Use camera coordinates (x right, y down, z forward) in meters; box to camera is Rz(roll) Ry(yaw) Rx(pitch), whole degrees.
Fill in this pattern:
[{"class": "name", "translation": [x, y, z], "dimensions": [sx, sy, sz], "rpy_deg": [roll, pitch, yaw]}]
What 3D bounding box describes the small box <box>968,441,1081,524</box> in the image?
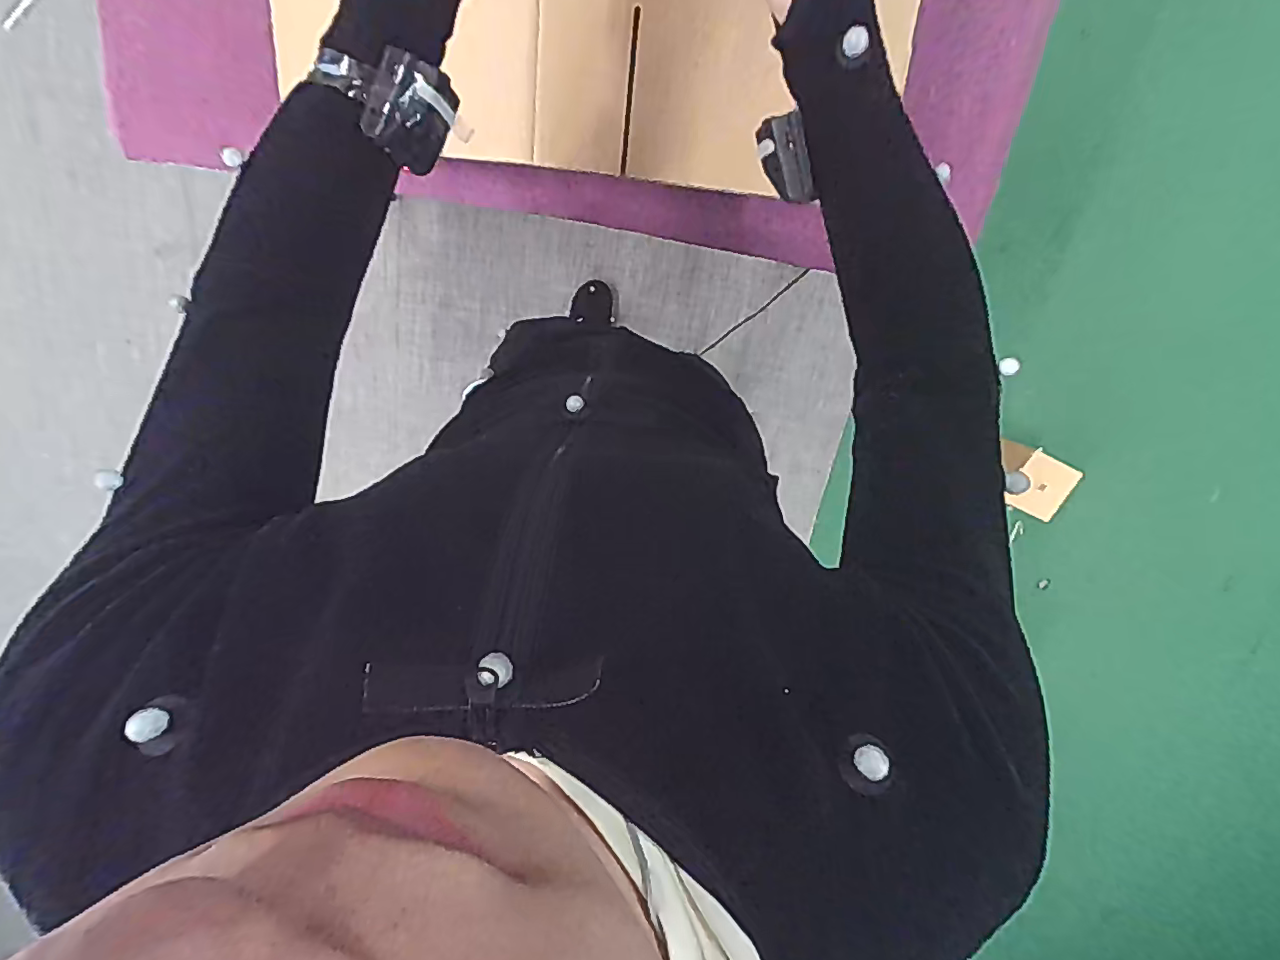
[{"class": "small box", "translation": [1.135, 0.000, 1.612], "dimensions": [0.179, 0.176, 0.168], "rpy_deg": [23, 107, -8]}]
